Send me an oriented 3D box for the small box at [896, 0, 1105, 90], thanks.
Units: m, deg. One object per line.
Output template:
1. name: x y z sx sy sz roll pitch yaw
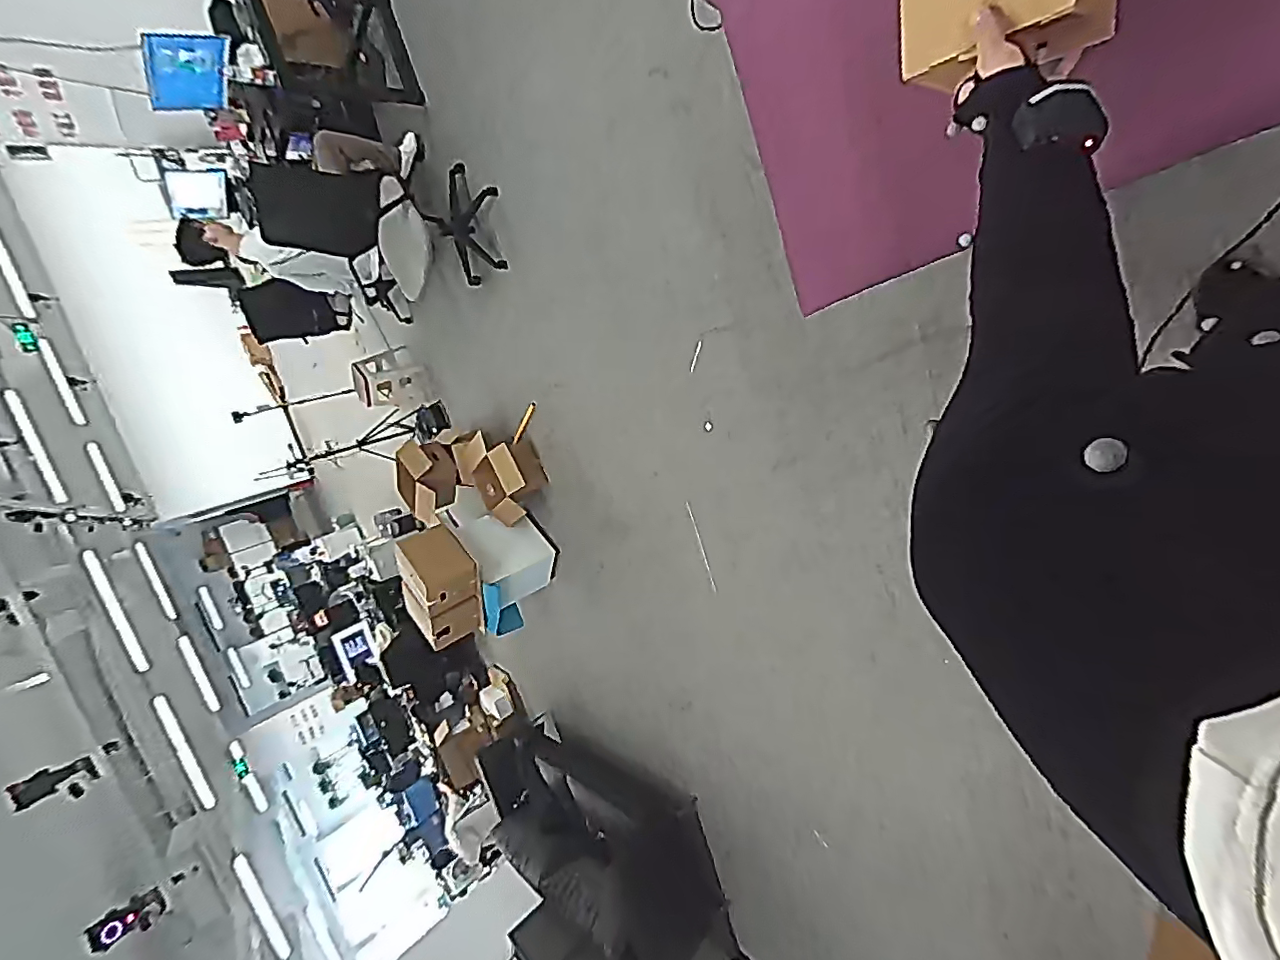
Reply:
1. small box: 0.406 -0.566 0.606 0.168 0.176 0.179 10 117 47
